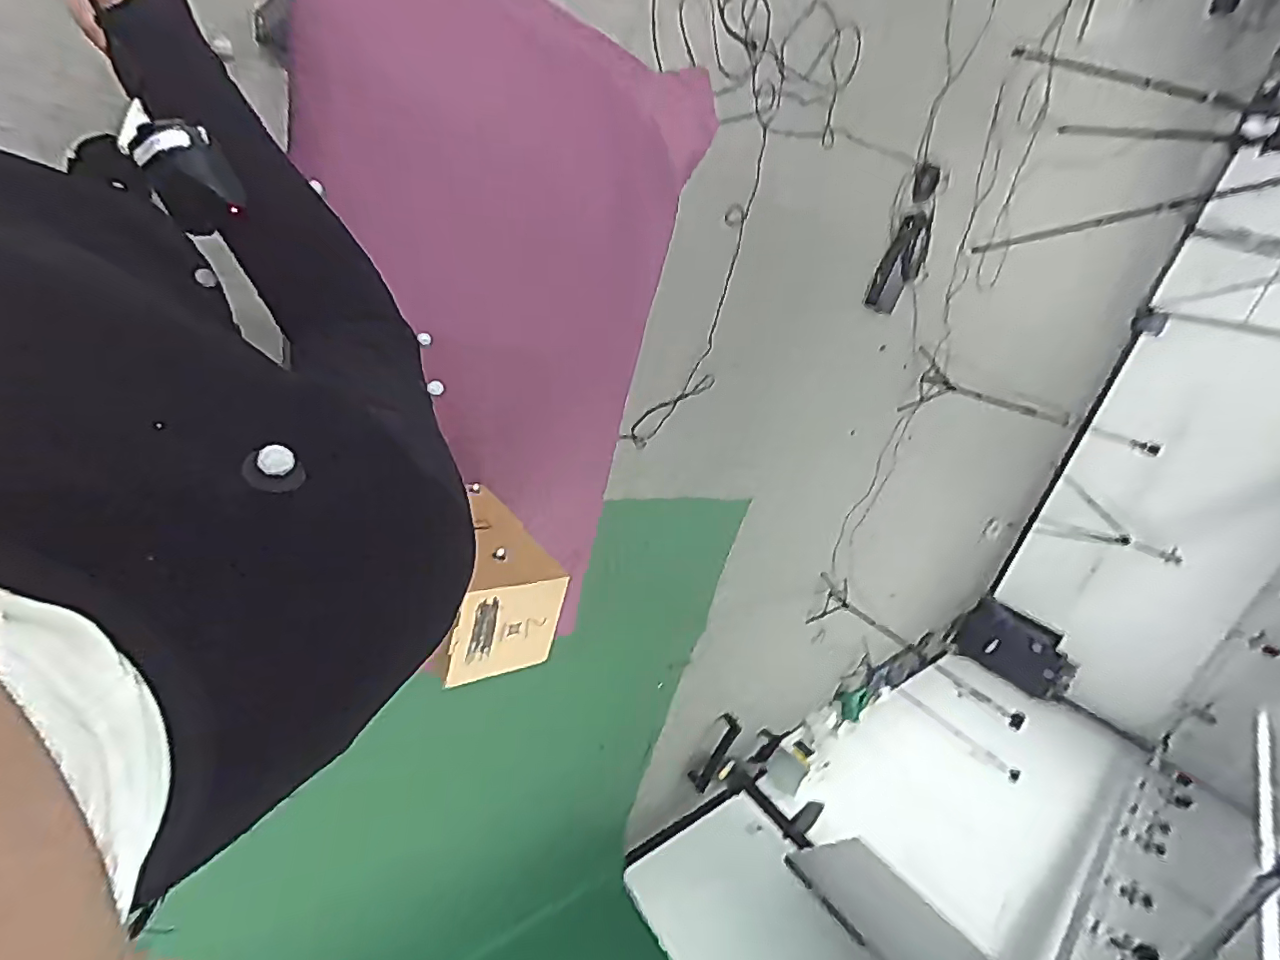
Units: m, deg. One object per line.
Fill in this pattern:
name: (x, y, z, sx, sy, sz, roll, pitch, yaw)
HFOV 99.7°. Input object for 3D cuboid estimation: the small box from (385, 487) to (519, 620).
small box: (-0.345, 0.121, 0.979, 0.168, 0.176, 0.179, 0, 115, -43)
